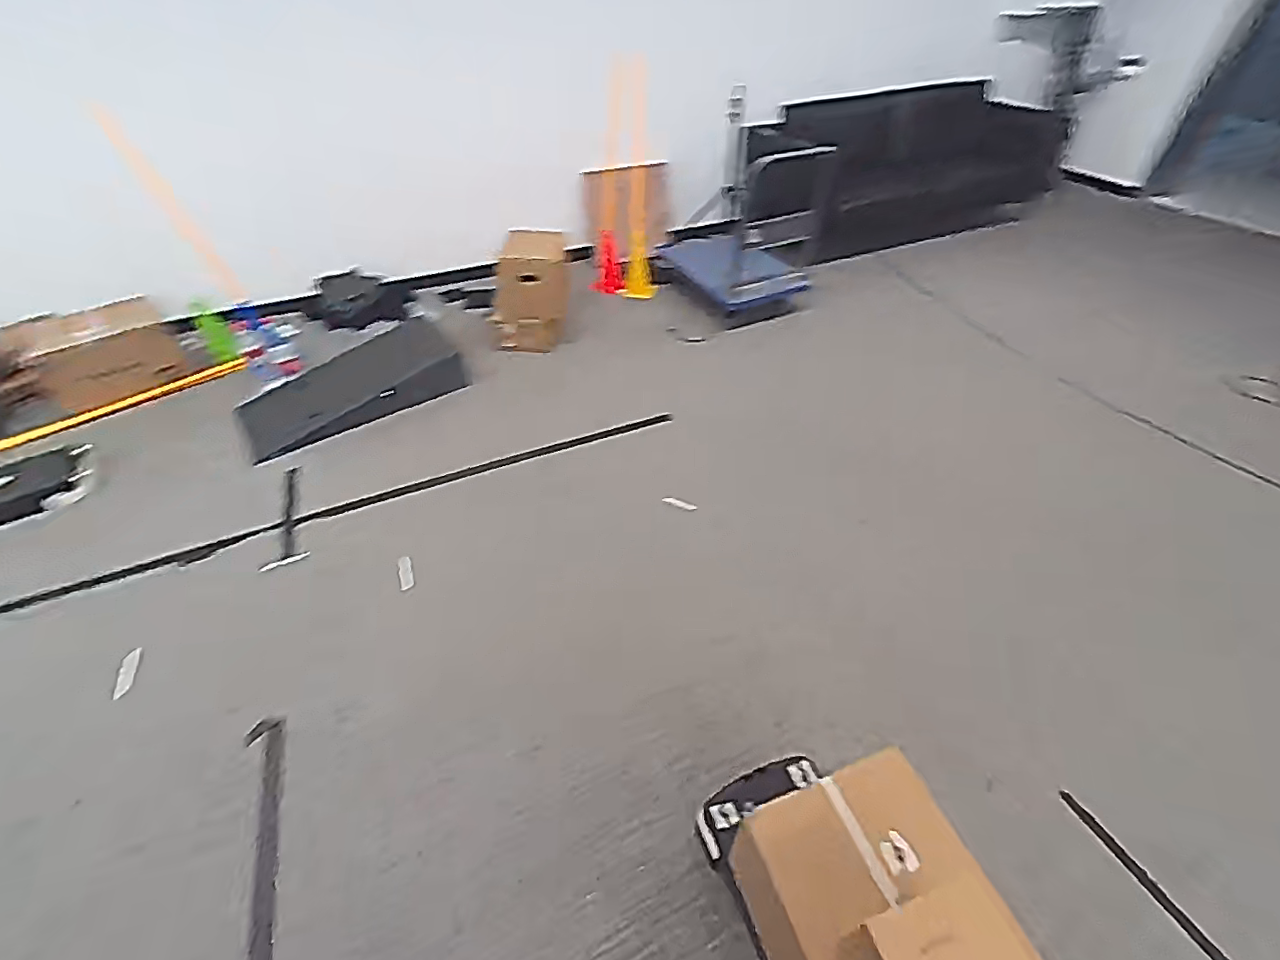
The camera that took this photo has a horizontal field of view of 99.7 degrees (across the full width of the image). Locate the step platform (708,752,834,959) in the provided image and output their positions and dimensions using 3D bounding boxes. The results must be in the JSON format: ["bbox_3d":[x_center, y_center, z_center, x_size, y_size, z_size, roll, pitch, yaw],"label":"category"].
[{"bbox_3d":[0.381,0.918,1.060,0.286,0.204,0.684,-13,43,-12],"label":"step platform"}]

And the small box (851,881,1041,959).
[{"bbox_3d":[0.388,0.631,0.657,0.168,0.176,0.179,-13,44,-10],"label":"small box"}]

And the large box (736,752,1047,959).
[{"bbox_3d":[0.393,0.753,0.887,0.320,0.320,0.408,-14,43,-14],"label":"large box"}]
